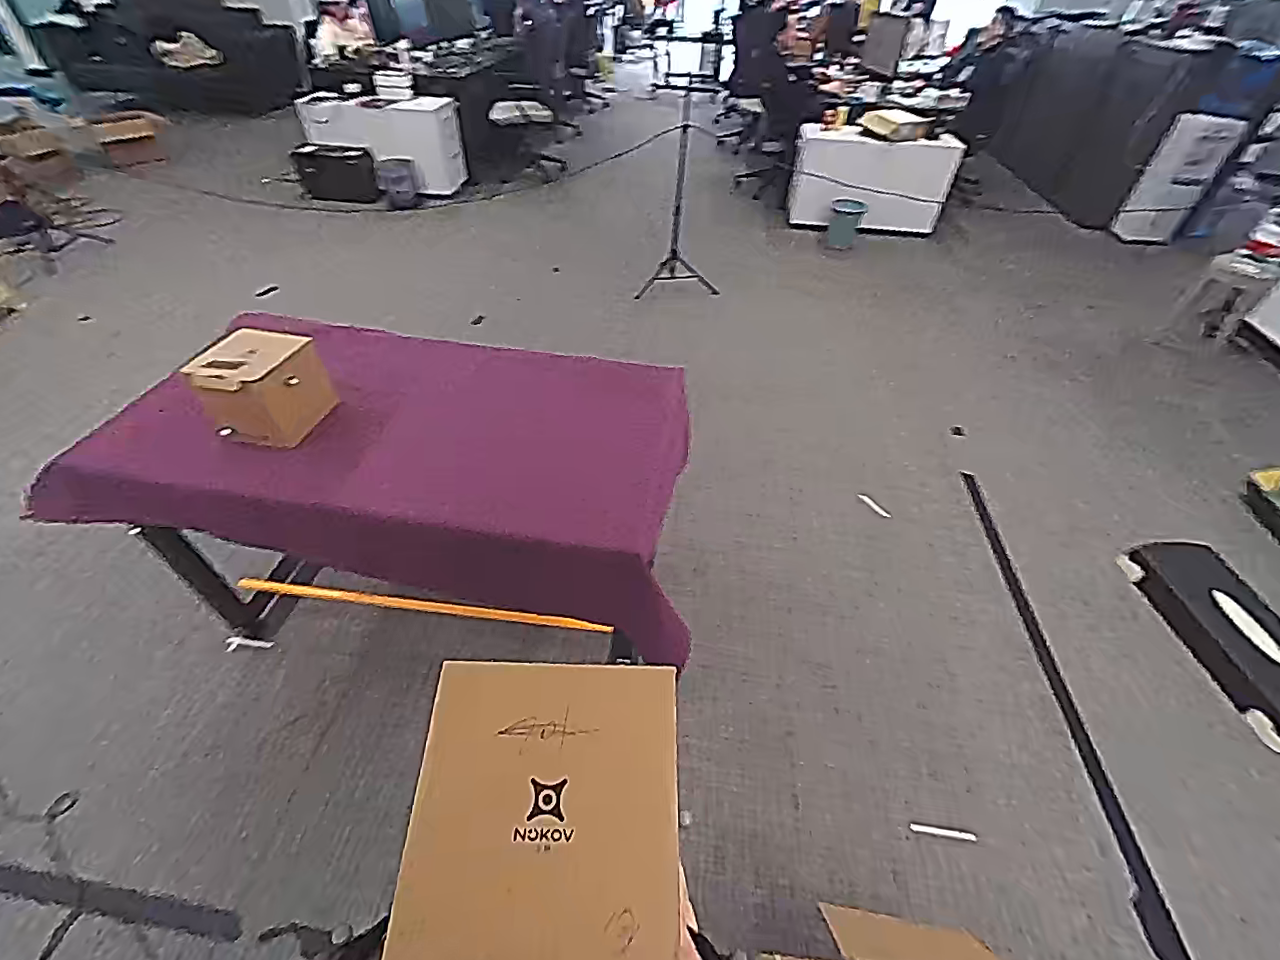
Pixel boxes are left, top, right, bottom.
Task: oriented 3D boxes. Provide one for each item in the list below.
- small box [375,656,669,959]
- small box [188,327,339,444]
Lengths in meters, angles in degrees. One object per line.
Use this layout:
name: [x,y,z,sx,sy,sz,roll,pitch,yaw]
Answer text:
small box: [-0.066,0.242,0.404,0.168,0.176,0.179,2,57,-2]
small box: [-0.780,-0.198,1.146,0.168,0.176,0.179,10,45,7]
